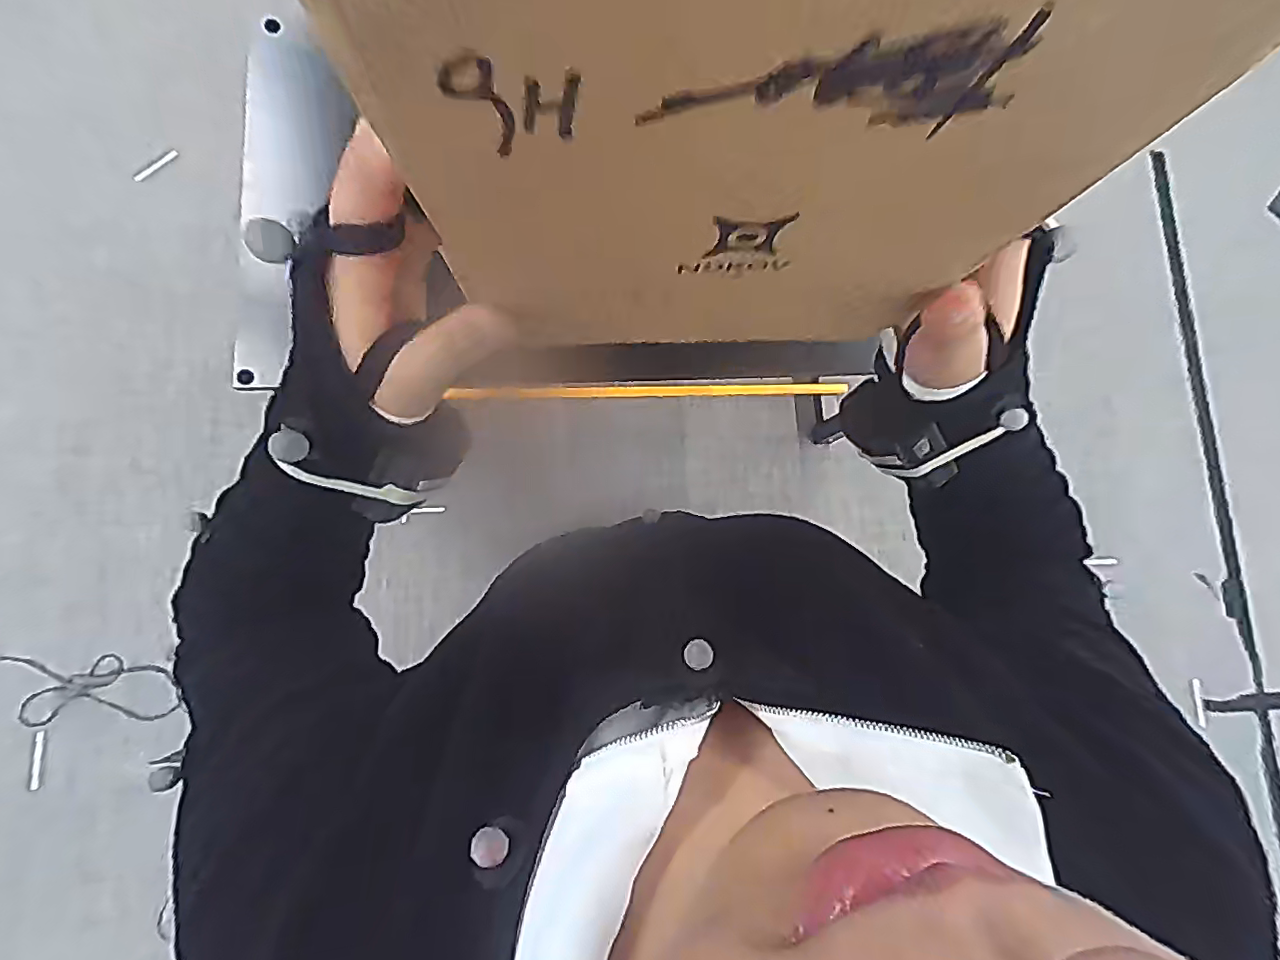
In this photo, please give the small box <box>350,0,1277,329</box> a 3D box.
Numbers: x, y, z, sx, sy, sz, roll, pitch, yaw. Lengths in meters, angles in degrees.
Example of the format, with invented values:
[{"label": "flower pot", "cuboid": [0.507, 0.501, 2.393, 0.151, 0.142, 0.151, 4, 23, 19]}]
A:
[{"label": "small box", "cuboid": [0.025, -0.160, 0.175, 0.168, 0.179, 0.176, -3, 87, -3]}]
